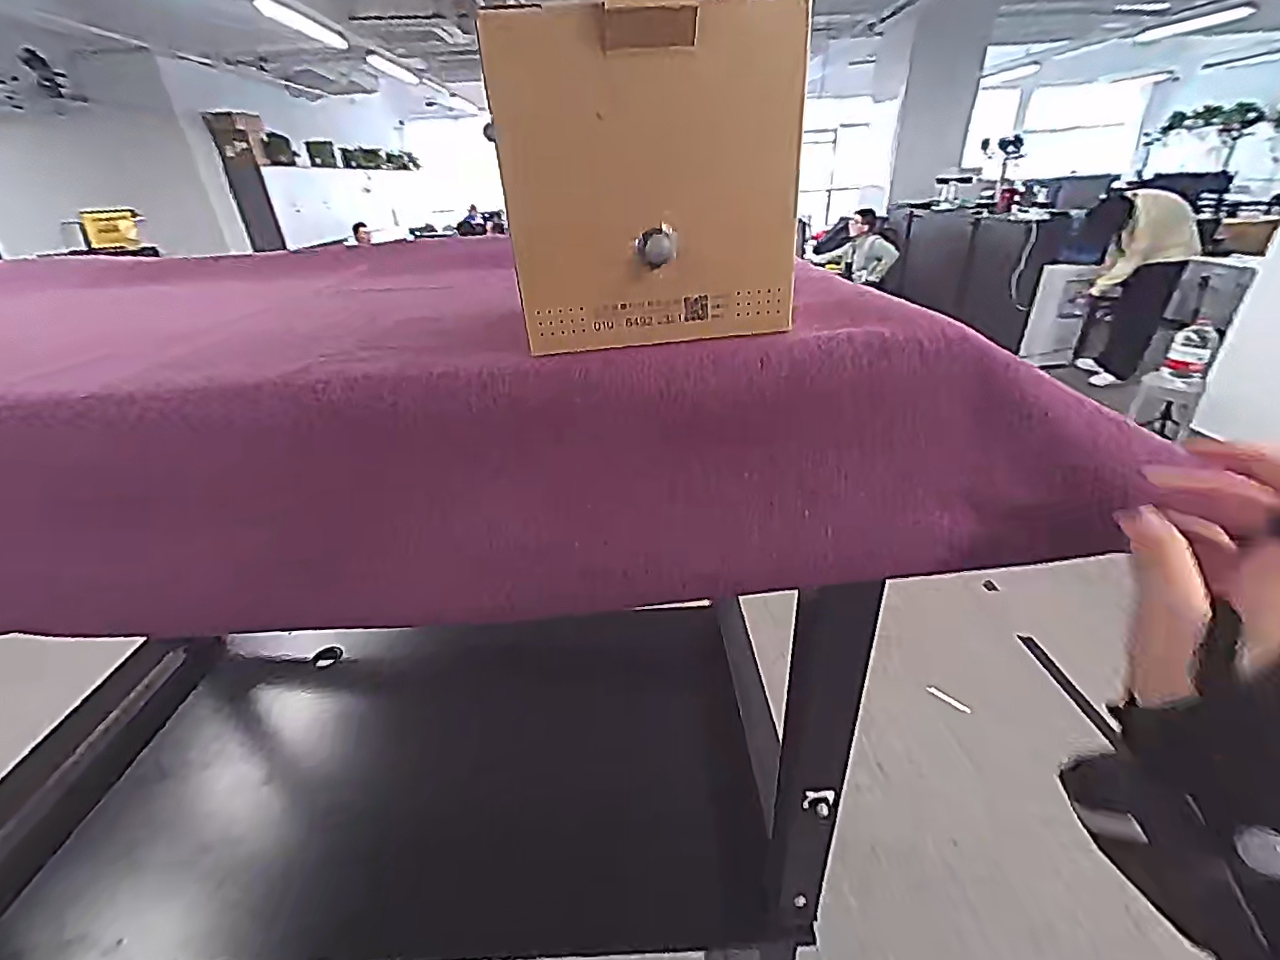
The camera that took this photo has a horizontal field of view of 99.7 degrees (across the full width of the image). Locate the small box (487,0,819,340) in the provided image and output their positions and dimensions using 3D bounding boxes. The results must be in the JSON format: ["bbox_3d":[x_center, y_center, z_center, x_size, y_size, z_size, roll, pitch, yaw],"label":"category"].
[{"bbox_3d":[0.003,-0.199,0.369,0.168,0.176,0.179,-7,28,-4],"label":"small box"}]
